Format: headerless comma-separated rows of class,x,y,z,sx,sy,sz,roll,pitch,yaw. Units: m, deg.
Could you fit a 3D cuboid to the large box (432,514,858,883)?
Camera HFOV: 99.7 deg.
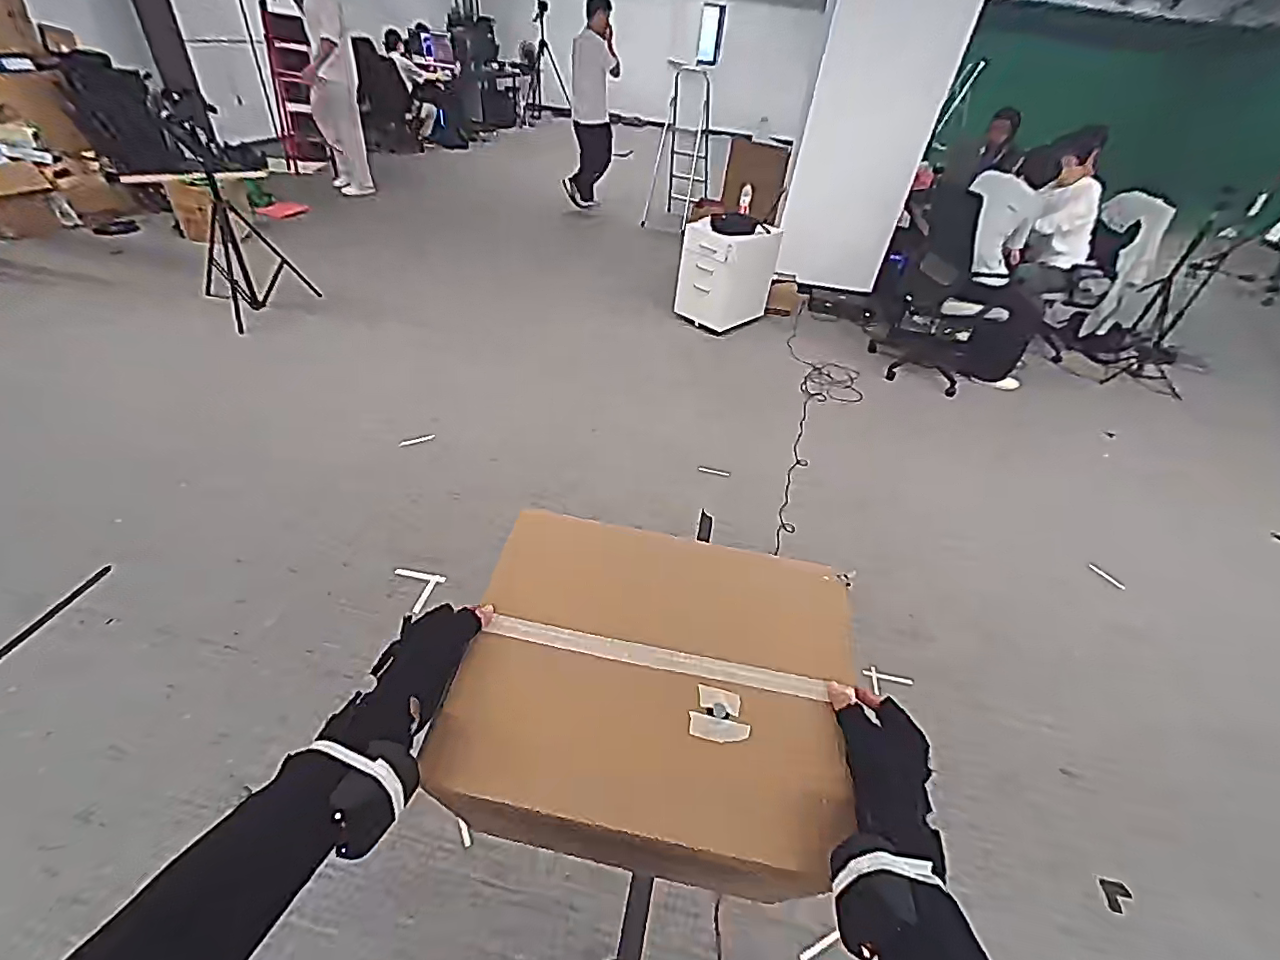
large box,0.012,0.284,0.697,0.408,0.320,0.320,10,51,3
